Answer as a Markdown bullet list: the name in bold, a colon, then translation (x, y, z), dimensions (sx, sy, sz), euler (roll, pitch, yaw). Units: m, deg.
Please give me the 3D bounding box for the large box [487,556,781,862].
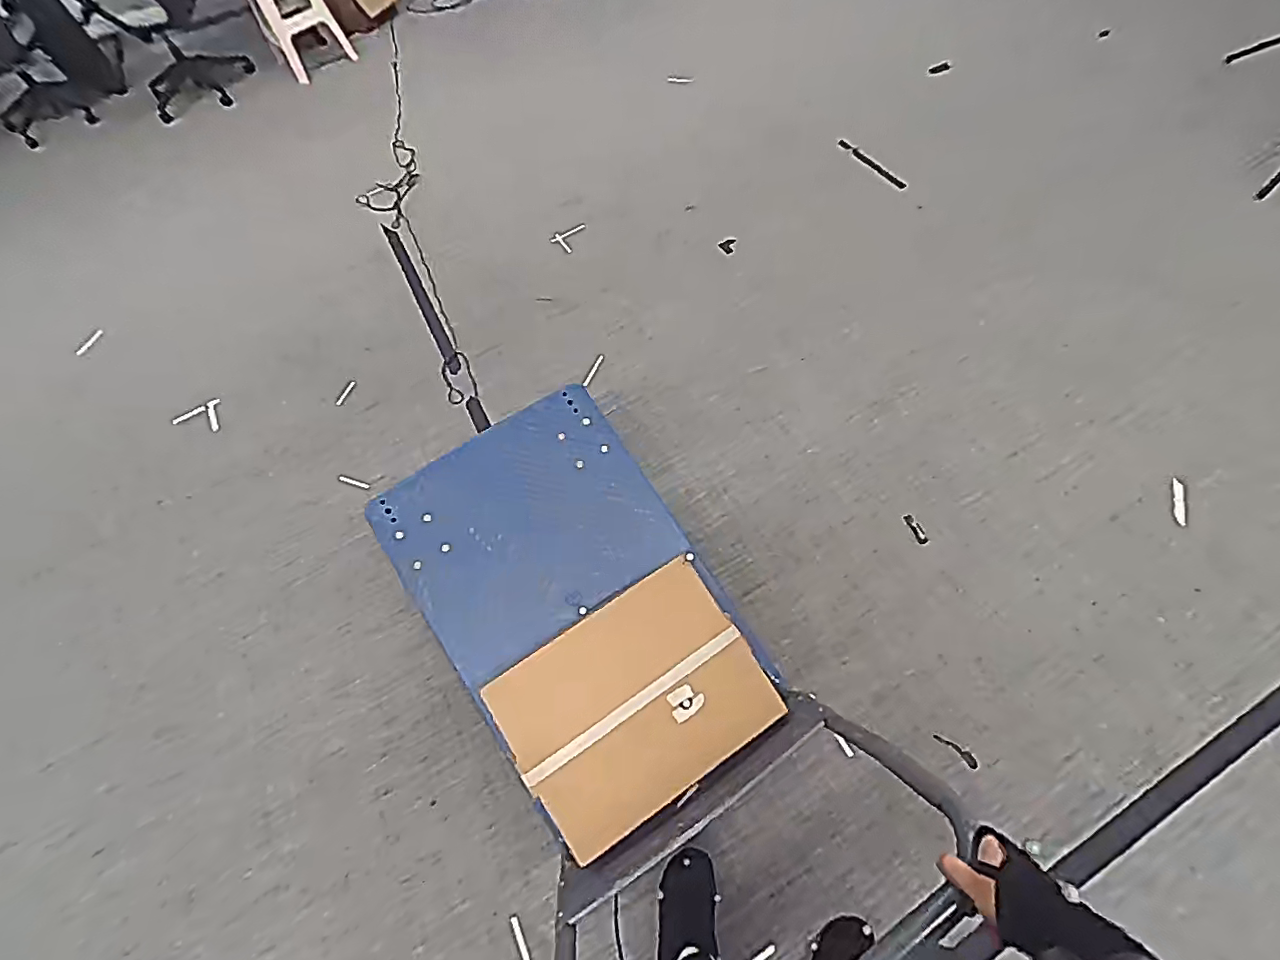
- **large box**: translation (-0.019, 0.395, 1.034), dimensions (0.408, 0.320, 0.320), euler (-33, 83, -11)
